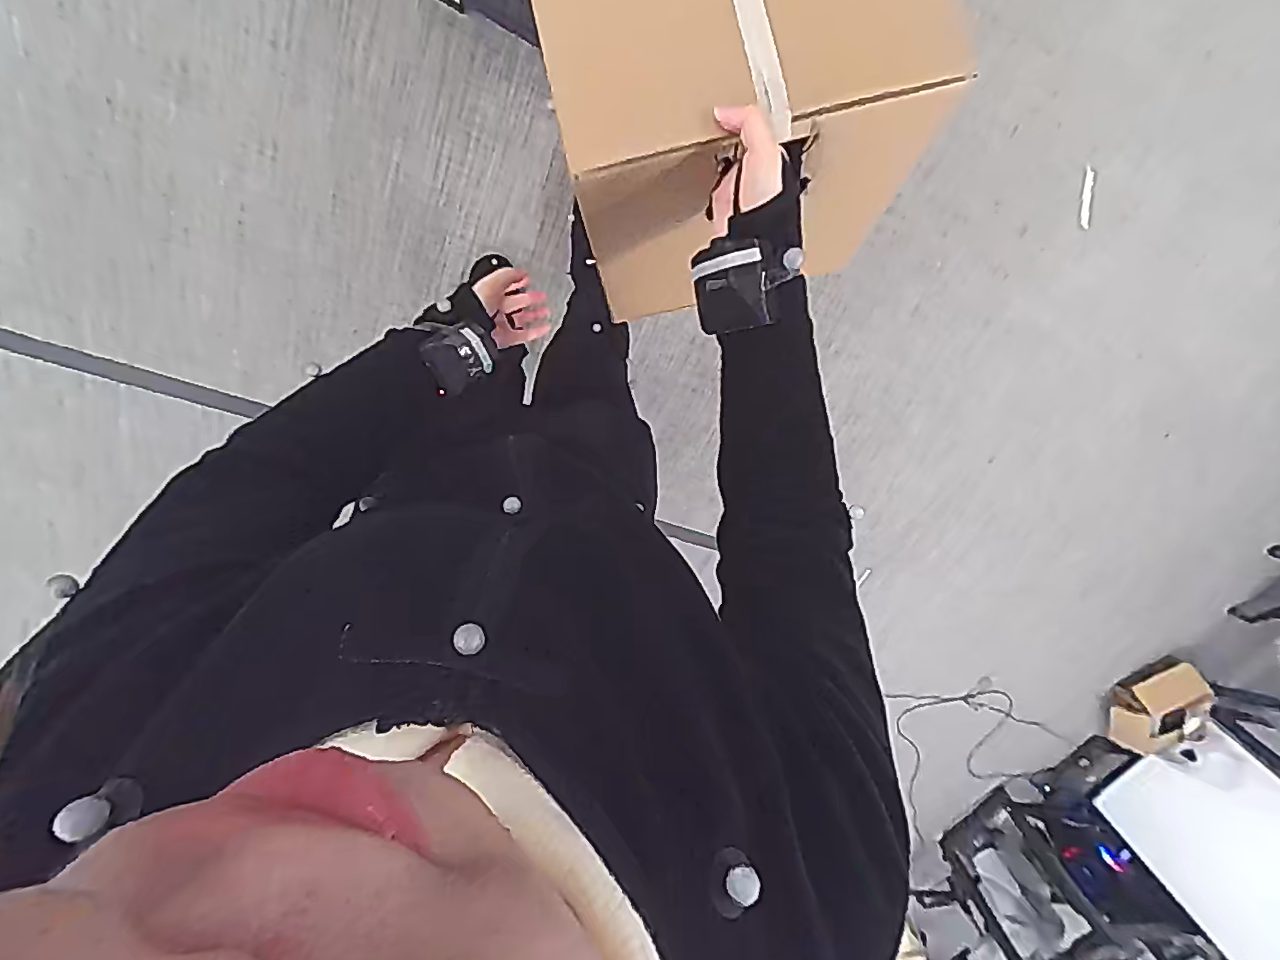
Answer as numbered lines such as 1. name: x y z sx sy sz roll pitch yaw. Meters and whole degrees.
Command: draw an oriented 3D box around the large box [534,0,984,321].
1. large box: 0.071 -0.441 0.566 0.320 0.320 0.408 -14 85 3
